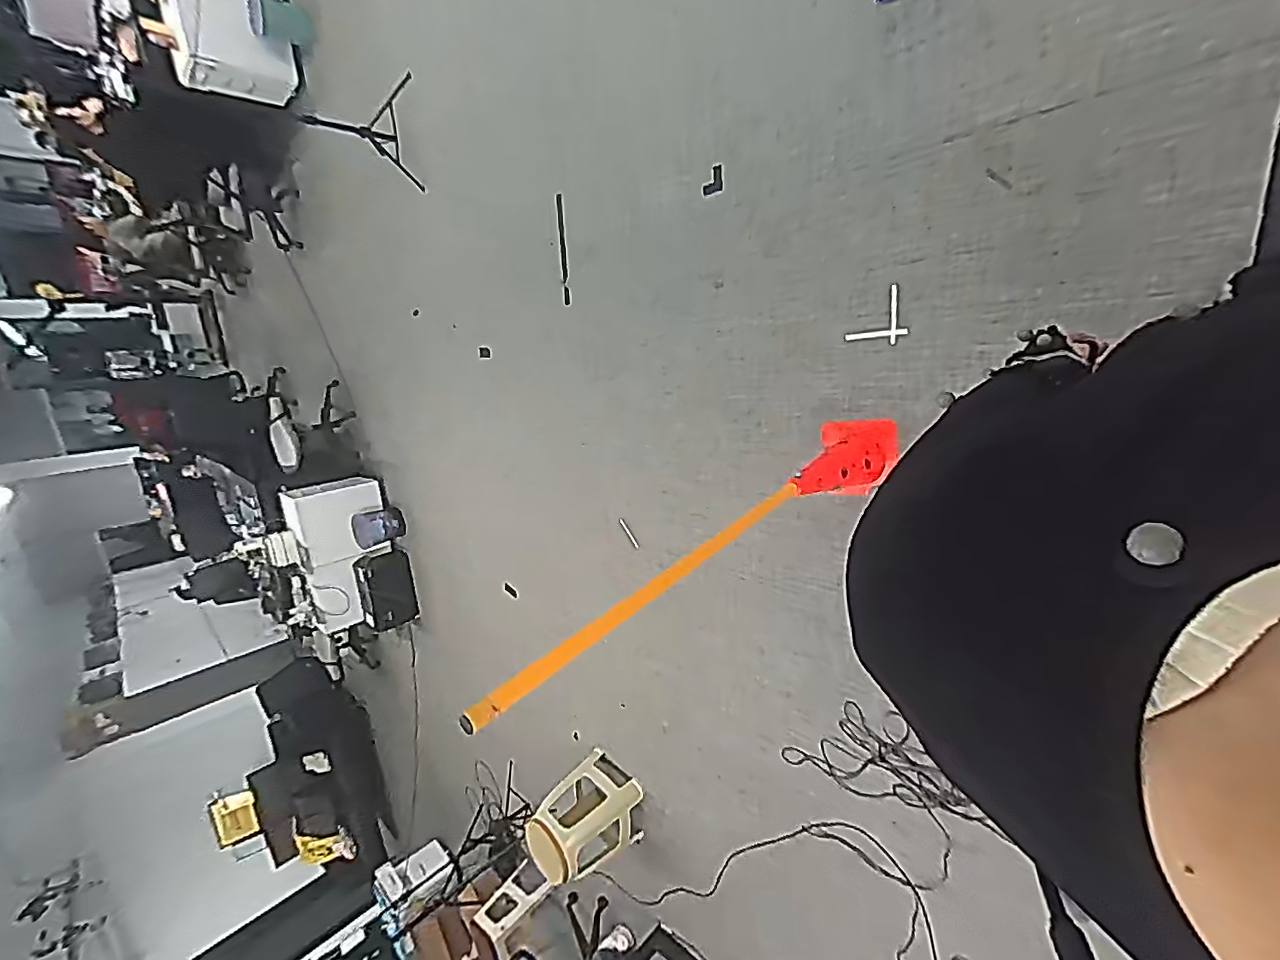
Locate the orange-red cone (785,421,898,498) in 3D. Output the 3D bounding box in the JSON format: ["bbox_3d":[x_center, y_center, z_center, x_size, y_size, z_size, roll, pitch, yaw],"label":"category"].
[{"bbox_3d":[0.458,-0.018,1.309,0.199,0.360,0.198,2,104,45],"label":"orange-red cone"}]
